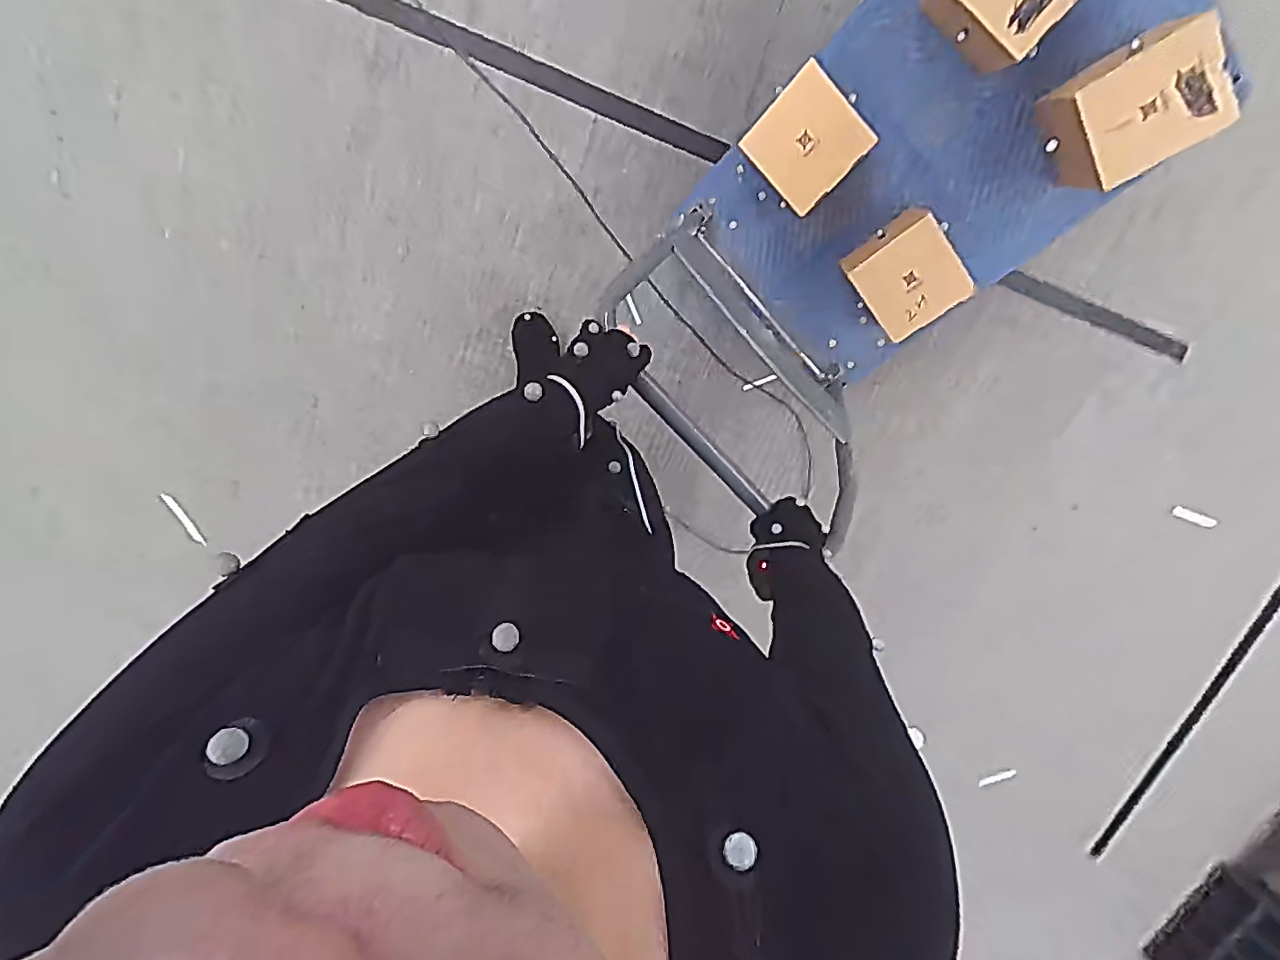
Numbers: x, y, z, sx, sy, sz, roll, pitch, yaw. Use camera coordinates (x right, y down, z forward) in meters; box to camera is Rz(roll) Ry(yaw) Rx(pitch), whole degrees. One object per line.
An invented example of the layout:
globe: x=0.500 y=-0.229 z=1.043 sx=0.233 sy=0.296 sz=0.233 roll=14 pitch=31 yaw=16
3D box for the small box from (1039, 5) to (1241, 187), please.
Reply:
small box: x=0.806 y=-0.615 z=0.888 sx=0.179 sy=0.176 sz=0.168 roll=-26 pitch=111 yaw=27

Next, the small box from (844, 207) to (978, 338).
small box: x=0.527 y=-0.417 z=1.076 sx=0.168 sy=0.176 sz=0.179 roll=-33 pitch=108 yaw=29

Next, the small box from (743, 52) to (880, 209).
small box: x=0.309 y=-0.636 z=1.002 sx=0.179 sy=0.176 sz=0.168 roll=42 pitch=121 yaw=-13
